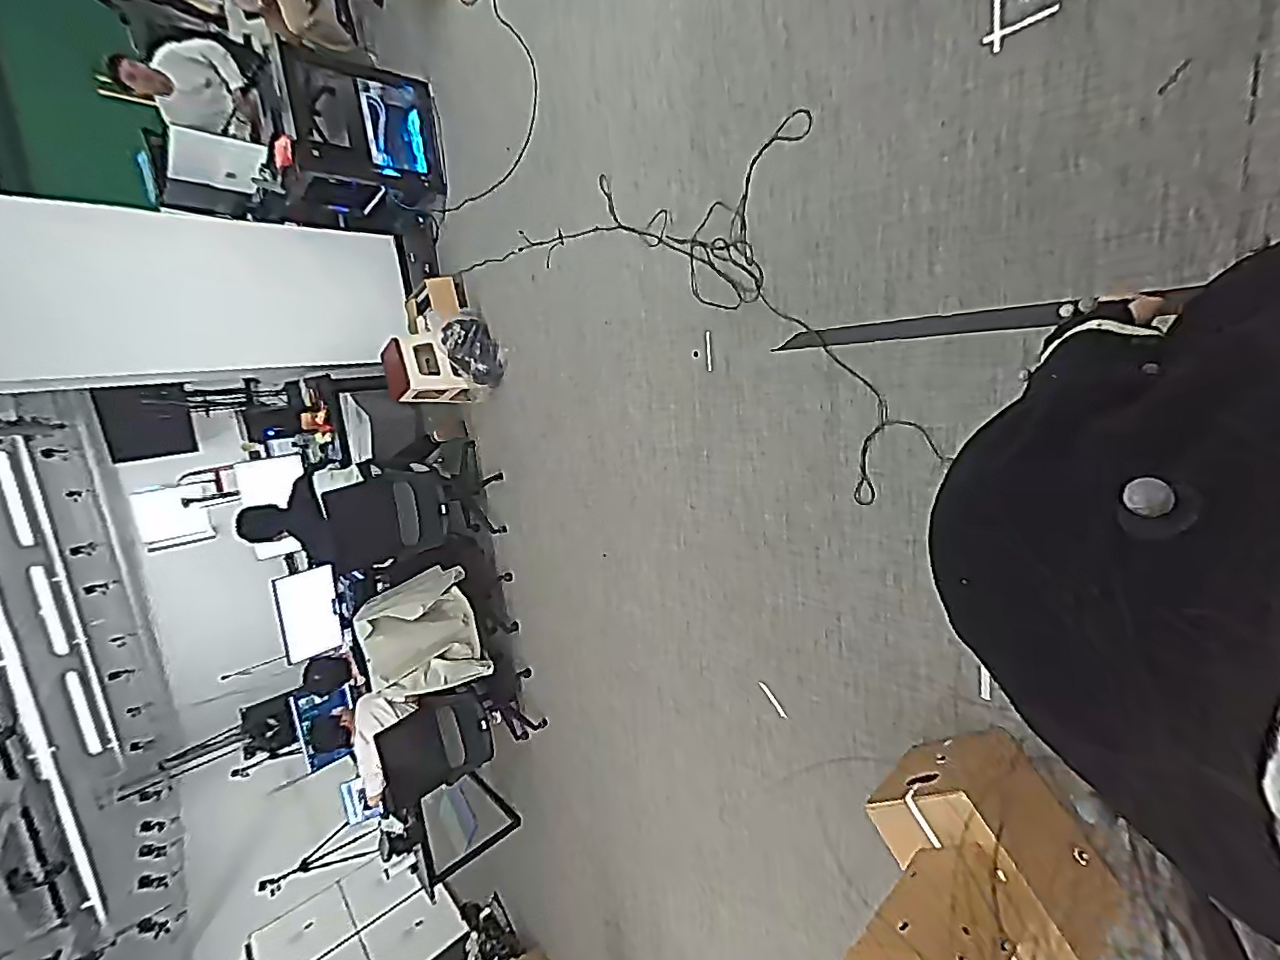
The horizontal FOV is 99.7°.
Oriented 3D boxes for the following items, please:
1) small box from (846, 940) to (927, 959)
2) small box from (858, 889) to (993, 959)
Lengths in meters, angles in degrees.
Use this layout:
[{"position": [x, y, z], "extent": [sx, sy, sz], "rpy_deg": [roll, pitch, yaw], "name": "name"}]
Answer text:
[{"position": [0.485, 1.029, 1.033], "extent": [0.168, 0.176, 0.179], "rpy_deg": [59, 139, 18], "name": "small box"}, {"position": [0.607, 0.998, 1.136], "extent": [0.168, 0.176, 0.179], "rpy_deg": [59, 137, 19], "name": "small box"}]
